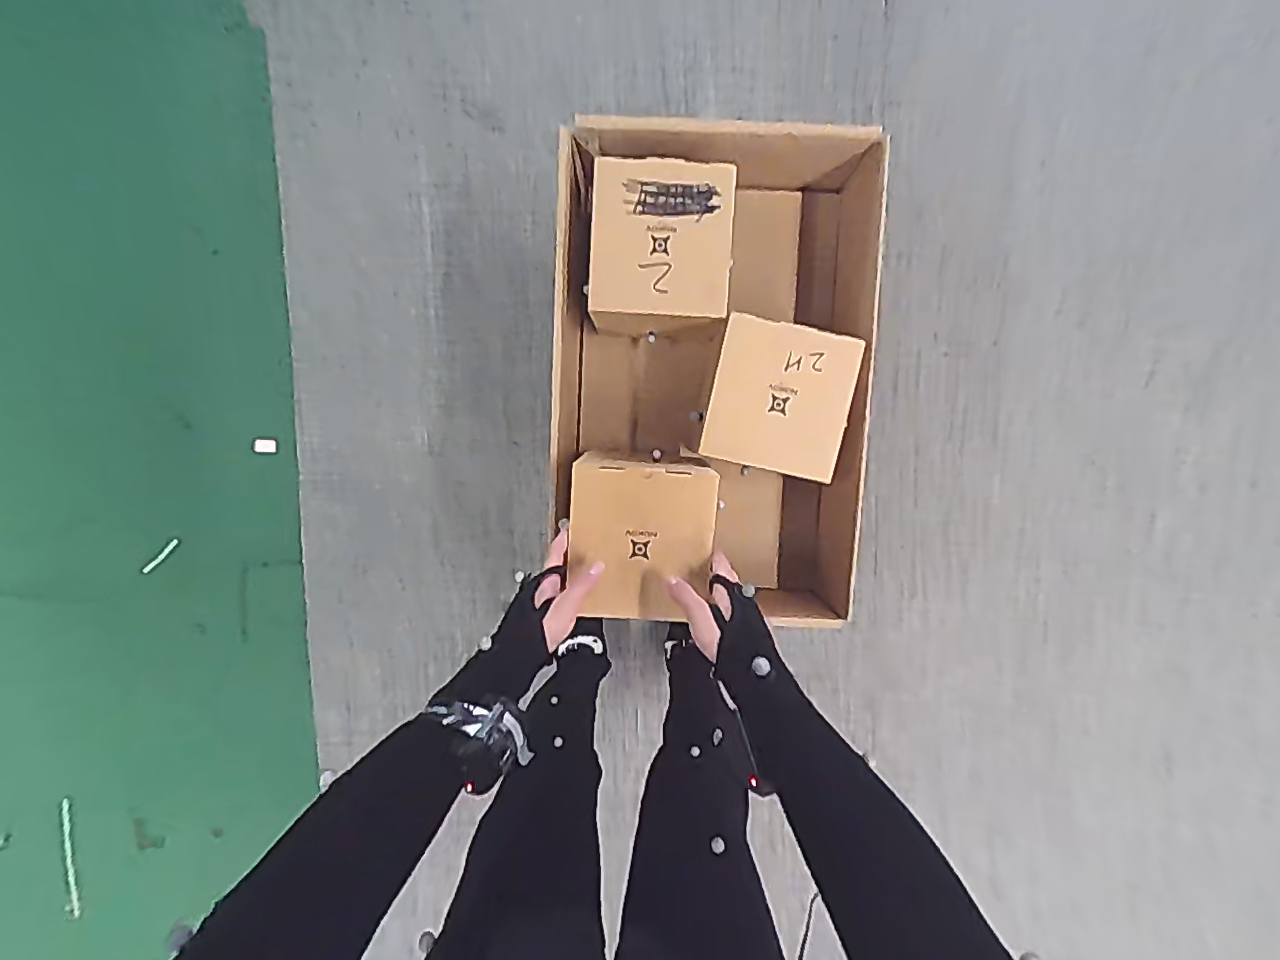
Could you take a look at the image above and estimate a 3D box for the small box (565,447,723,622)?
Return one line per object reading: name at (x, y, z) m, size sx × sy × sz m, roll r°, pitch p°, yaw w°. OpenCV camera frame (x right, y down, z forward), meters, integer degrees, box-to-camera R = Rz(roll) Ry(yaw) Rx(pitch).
small box at (0.005, 0.058, 0.677) m, size 0.168 × 0.176 × 0.179 m, roll 4°, pitch 98°, yaw 0°
